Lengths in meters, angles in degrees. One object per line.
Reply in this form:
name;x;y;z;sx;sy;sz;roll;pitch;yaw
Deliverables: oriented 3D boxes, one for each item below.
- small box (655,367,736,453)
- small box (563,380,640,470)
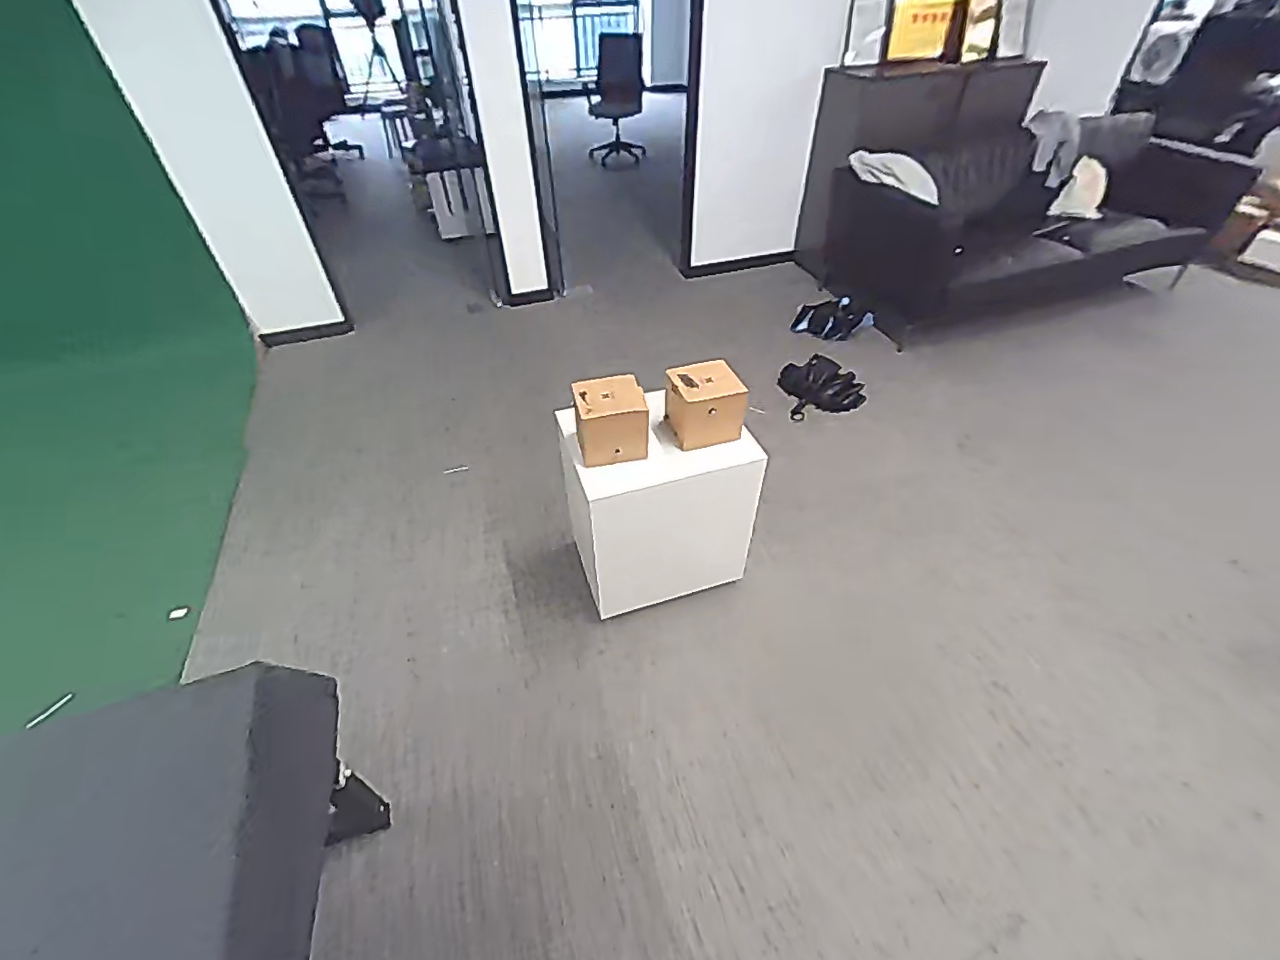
small box;0.146;-0.192;1.507;0.179;0.176;0.168;-12;45;-16
small box;-0.107;-0.146;1.444;0.179;0.176;0.168;-8;43;-13
